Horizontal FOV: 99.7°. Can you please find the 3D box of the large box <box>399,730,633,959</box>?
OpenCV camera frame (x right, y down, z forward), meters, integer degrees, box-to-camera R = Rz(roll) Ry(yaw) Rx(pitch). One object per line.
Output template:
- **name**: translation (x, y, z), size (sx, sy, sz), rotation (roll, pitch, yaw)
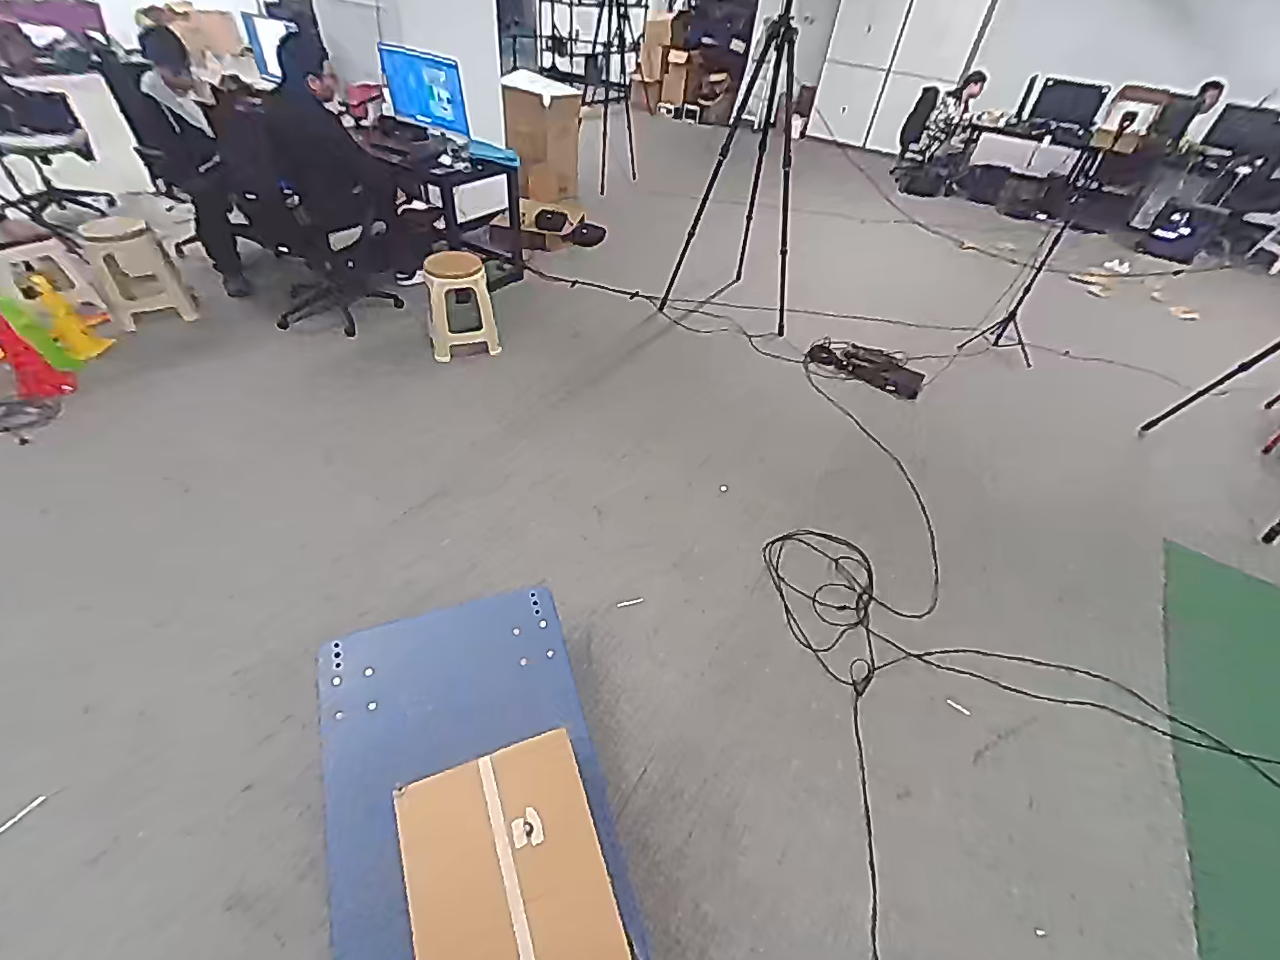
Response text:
- **large box**: translation (-0.243, 0.760, 1.045), size (0.320, 0.320, 0.408), rotation (-13, 62, -20)
